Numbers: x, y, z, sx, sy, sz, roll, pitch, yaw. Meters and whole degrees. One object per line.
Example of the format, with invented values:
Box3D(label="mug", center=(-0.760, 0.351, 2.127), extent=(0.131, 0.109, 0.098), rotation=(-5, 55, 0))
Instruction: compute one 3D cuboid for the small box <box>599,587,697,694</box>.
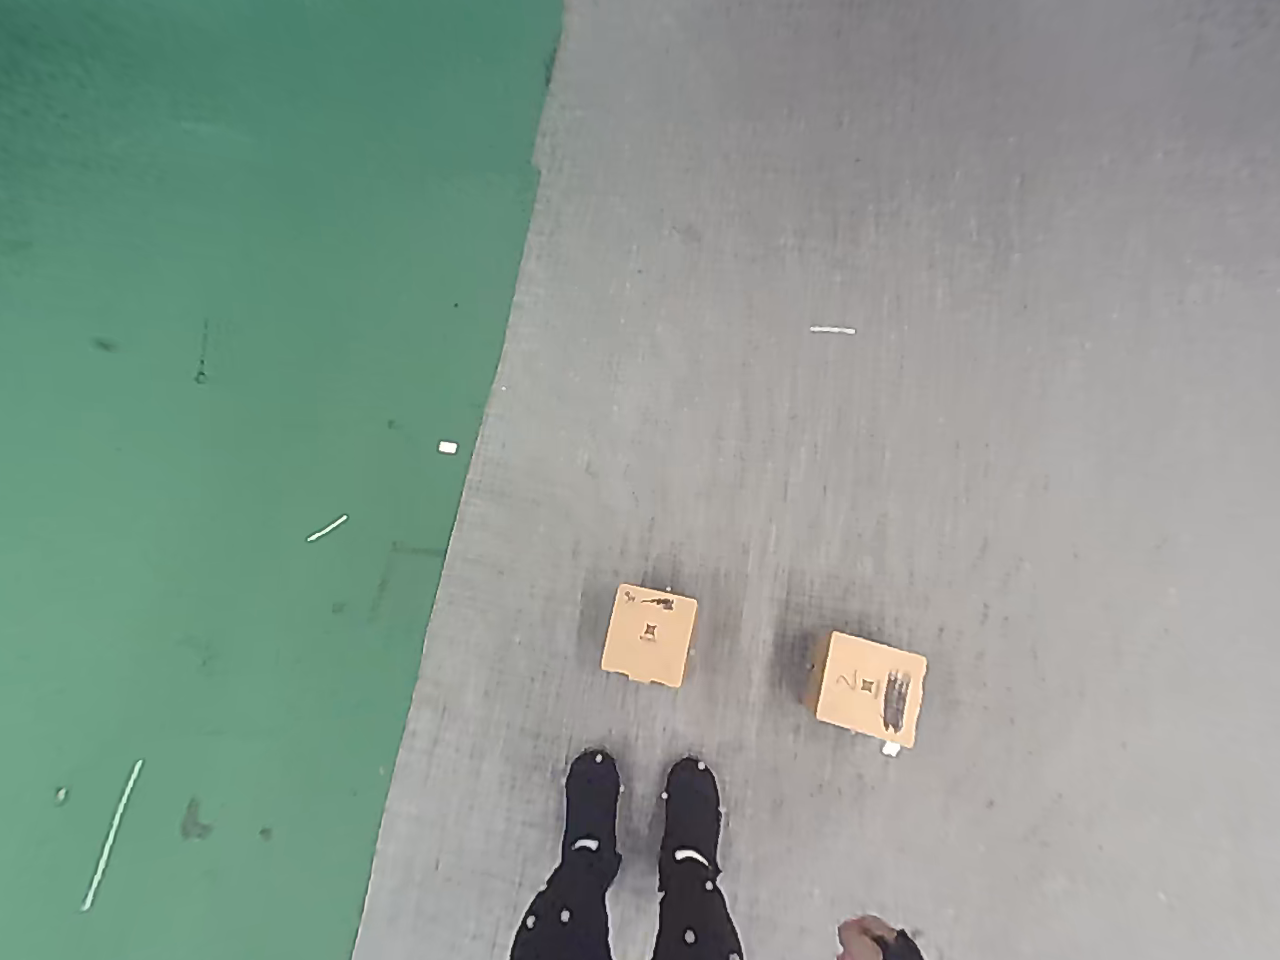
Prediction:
Box3D(label="small box", center=(0.025, 0.337, 1.156), extent=(0.168, 0.176, 0.179), rotation=(11, 77, 11))
